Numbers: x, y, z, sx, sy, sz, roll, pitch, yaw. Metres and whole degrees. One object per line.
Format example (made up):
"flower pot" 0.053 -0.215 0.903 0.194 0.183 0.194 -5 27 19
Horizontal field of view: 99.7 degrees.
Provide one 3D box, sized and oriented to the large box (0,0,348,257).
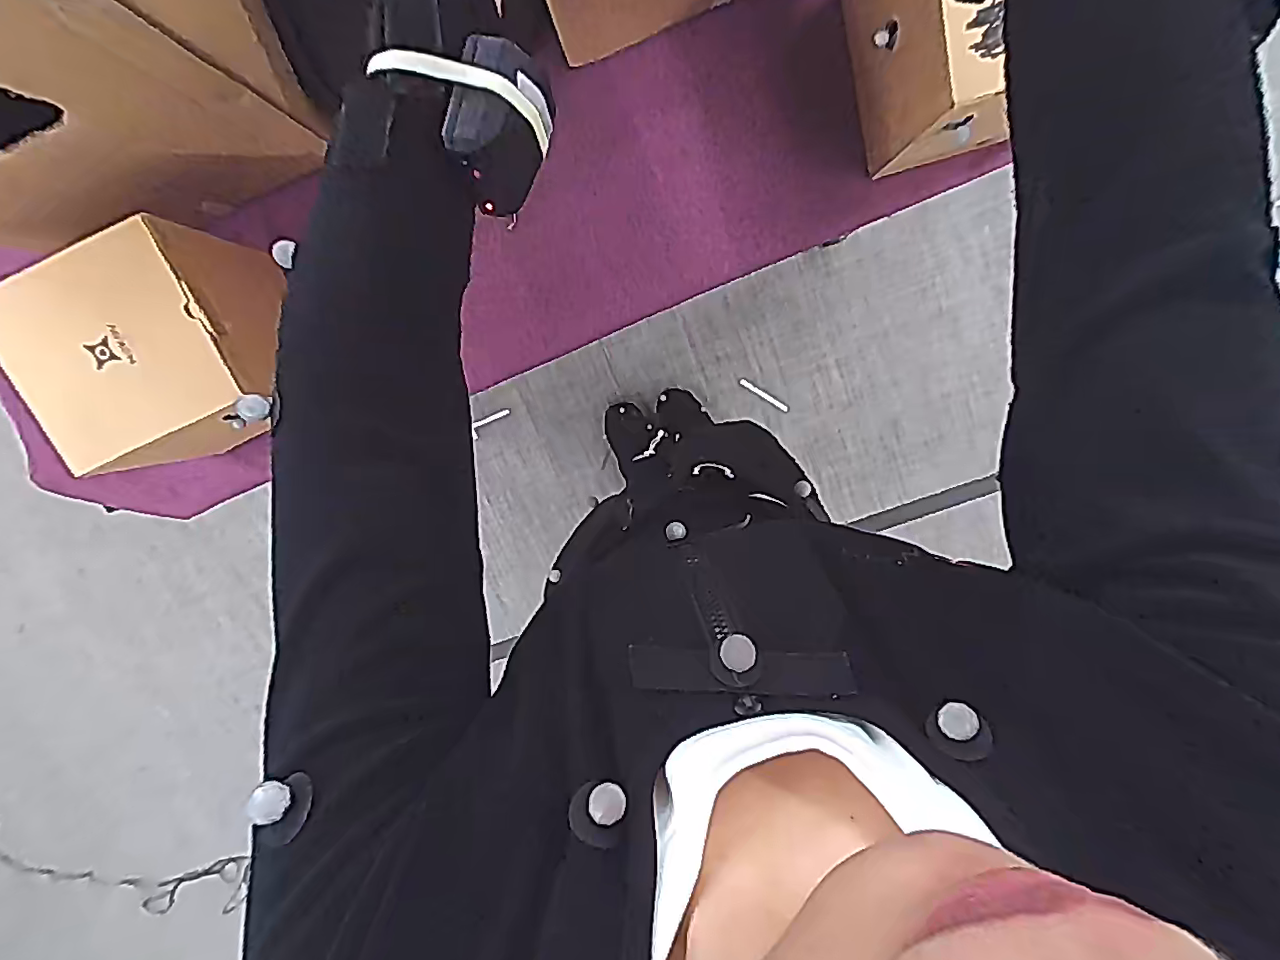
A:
"large box" -0.521 -0.442 0.407 0.320 0.320 0.408 -21 104 6
